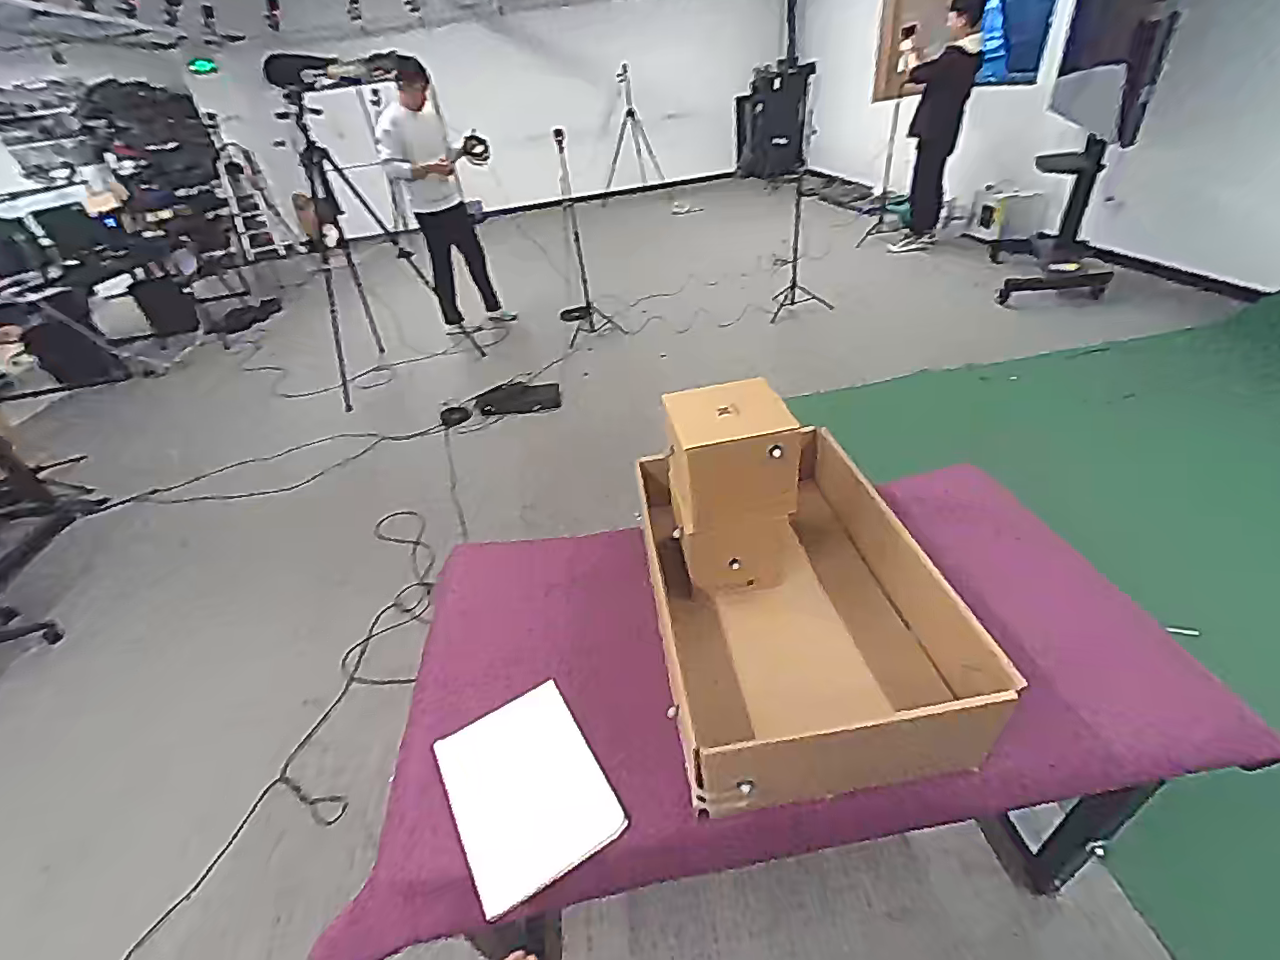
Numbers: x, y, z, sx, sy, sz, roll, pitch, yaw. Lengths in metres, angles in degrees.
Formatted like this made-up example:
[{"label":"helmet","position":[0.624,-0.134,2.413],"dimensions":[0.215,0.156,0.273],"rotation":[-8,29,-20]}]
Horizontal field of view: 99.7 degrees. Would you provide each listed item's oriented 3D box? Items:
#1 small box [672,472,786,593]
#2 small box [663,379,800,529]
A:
[{"label":"small box","position":[0.157,0.087,0.976],"dimensions":[0.168,0.176,0.179],"rotation":[-9,38,-1]},{"label":"small box","position":[0.144,-0.040,0.876],"dimensions":[0.179,0.176,0.168],"rotation":[-11,37,-3]}]
